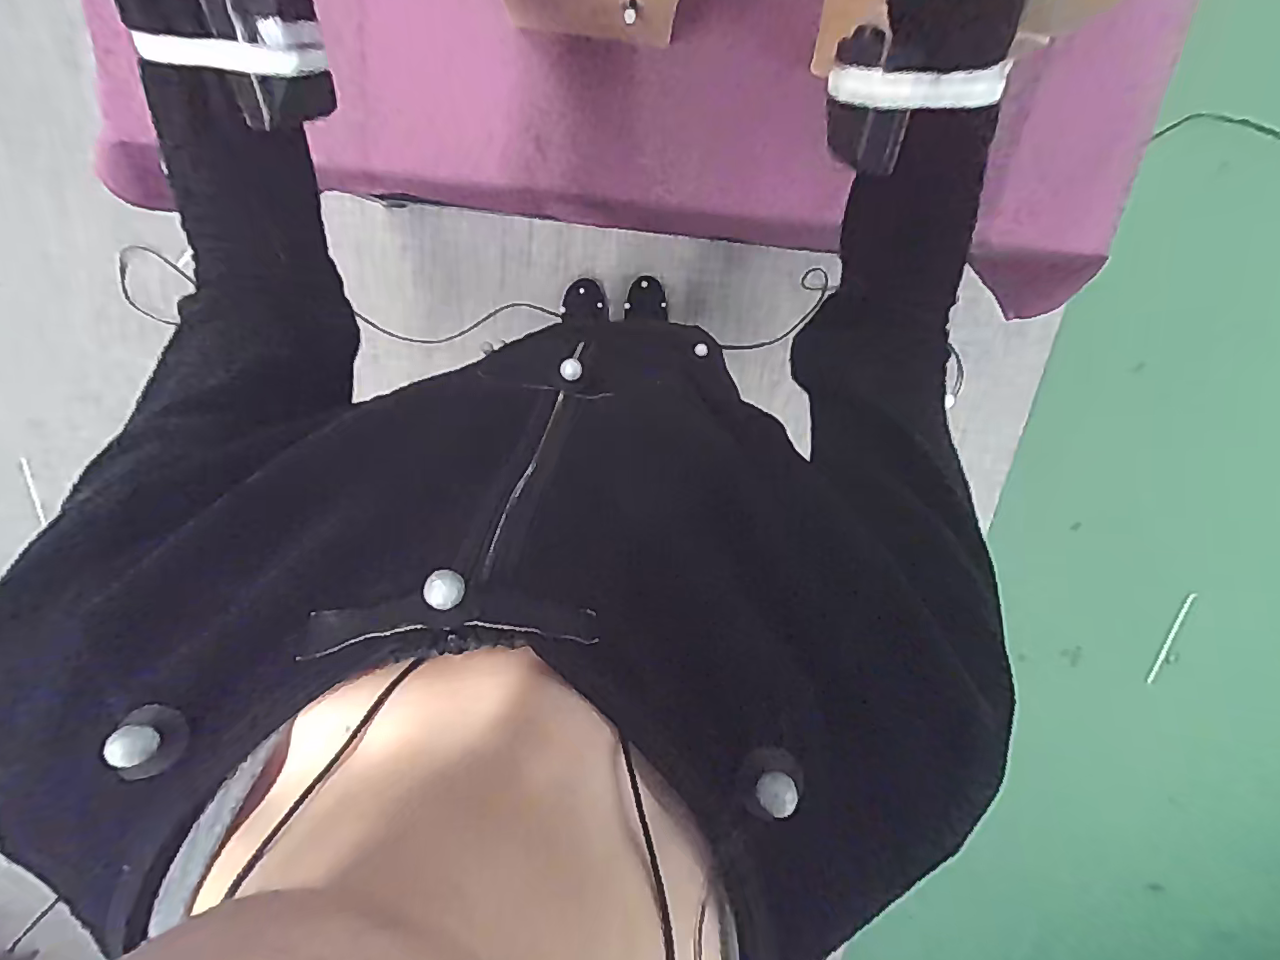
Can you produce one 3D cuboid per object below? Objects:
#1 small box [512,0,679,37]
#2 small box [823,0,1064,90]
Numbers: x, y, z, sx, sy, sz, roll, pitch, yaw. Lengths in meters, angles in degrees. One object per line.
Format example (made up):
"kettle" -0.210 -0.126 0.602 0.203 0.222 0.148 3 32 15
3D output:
"small box" -0.036 -0.542 0.491 0.179 0.176 0.168 5 109 -5
"small box" 0.296 -0.512 0.521 0.168 0.176 0.179 7 109 -5
